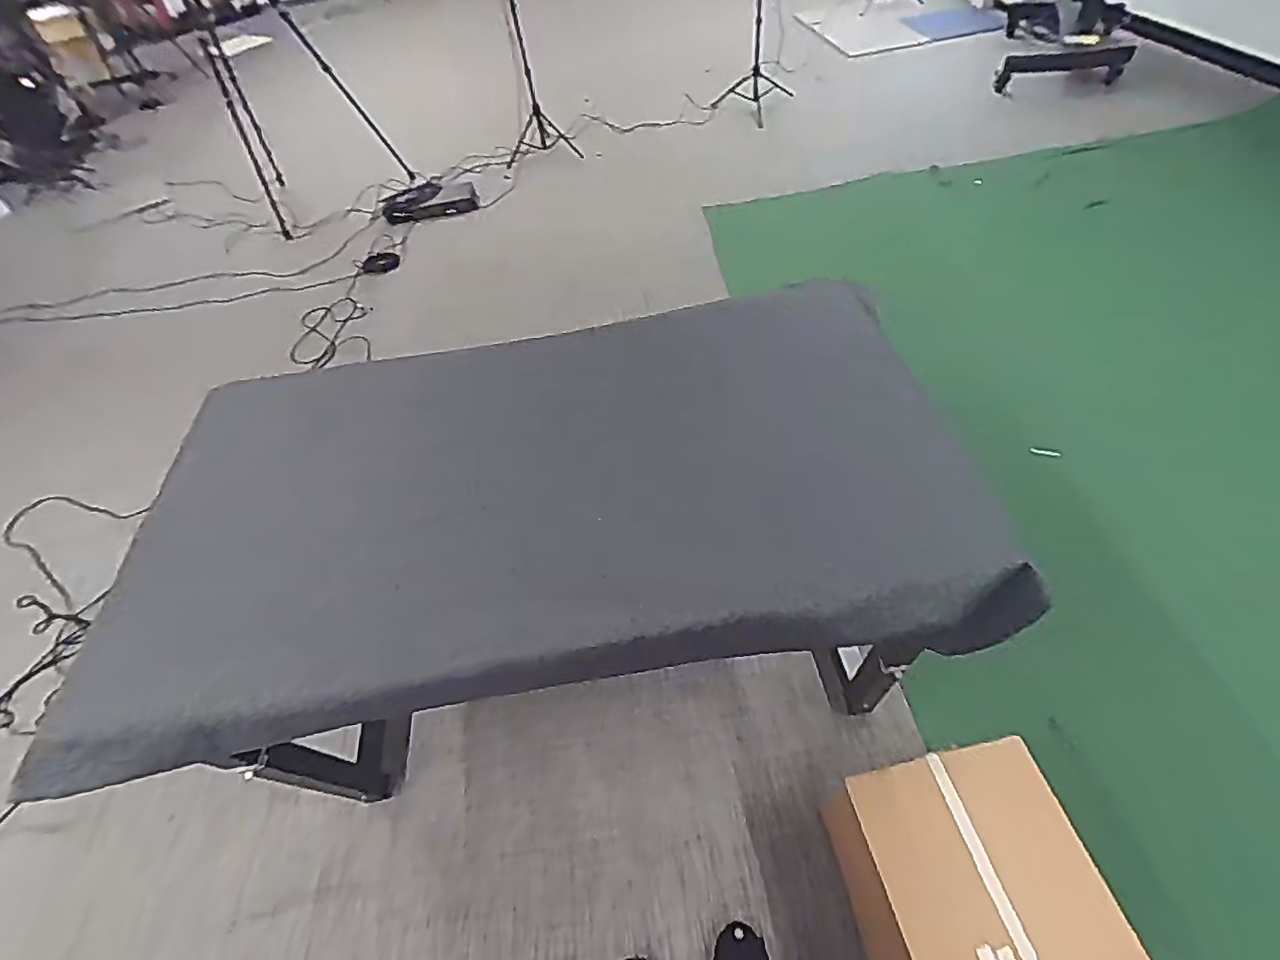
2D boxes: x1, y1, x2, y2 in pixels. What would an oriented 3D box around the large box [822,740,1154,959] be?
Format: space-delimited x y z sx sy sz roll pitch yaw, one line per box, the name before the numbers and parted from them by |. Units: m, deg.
large box | 0.549 0.711 0.901 0.320 0.320 0.408 -14 52 -2
